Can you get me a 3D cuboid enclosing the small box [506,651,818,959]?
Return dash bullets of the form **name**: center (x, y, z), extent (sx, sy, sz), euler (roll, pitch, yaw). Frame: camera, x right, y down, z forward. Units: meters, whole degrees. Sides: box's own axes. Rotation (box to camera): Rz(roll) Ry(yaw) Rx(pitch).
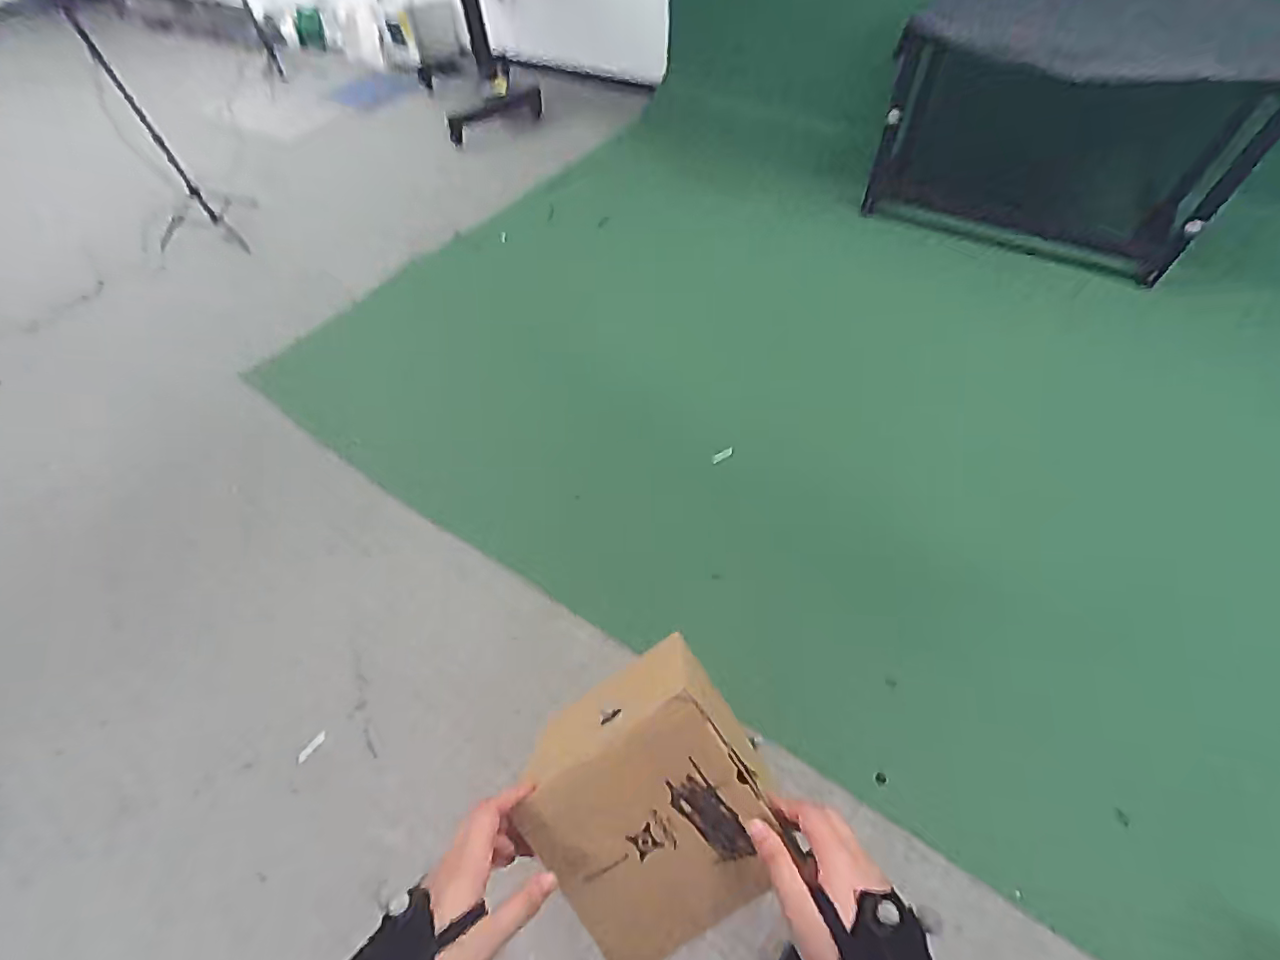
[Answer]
- **small box**: center (0.016, 0.280, 0.473), extent (0.179, 0.176, 0.168), euler (-35, 88, 1)
